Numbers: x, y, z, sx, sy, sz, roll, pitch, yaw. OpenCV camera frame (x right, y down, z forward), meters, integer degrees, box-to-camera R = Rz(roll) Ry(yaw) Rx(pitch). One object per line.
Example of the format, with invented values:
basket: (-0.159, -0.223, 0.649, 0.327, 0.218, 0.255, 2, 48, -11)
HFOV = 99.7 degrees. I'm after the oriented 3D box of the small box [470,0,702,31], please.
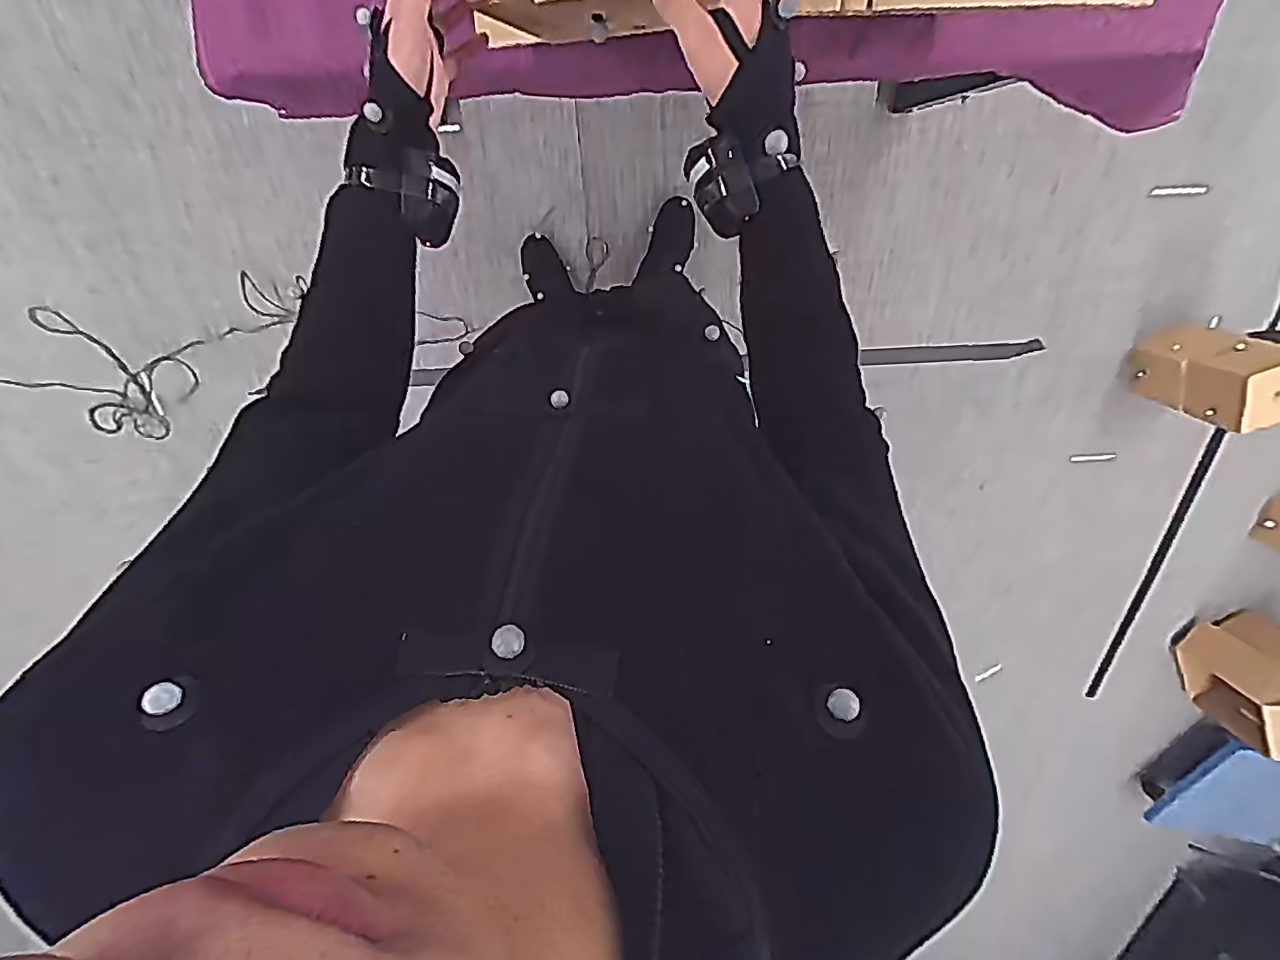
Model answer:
small box: (-0.041, -0.488, 0.436, 0.168, 0.176, 0.179, 6, 121, 16)
